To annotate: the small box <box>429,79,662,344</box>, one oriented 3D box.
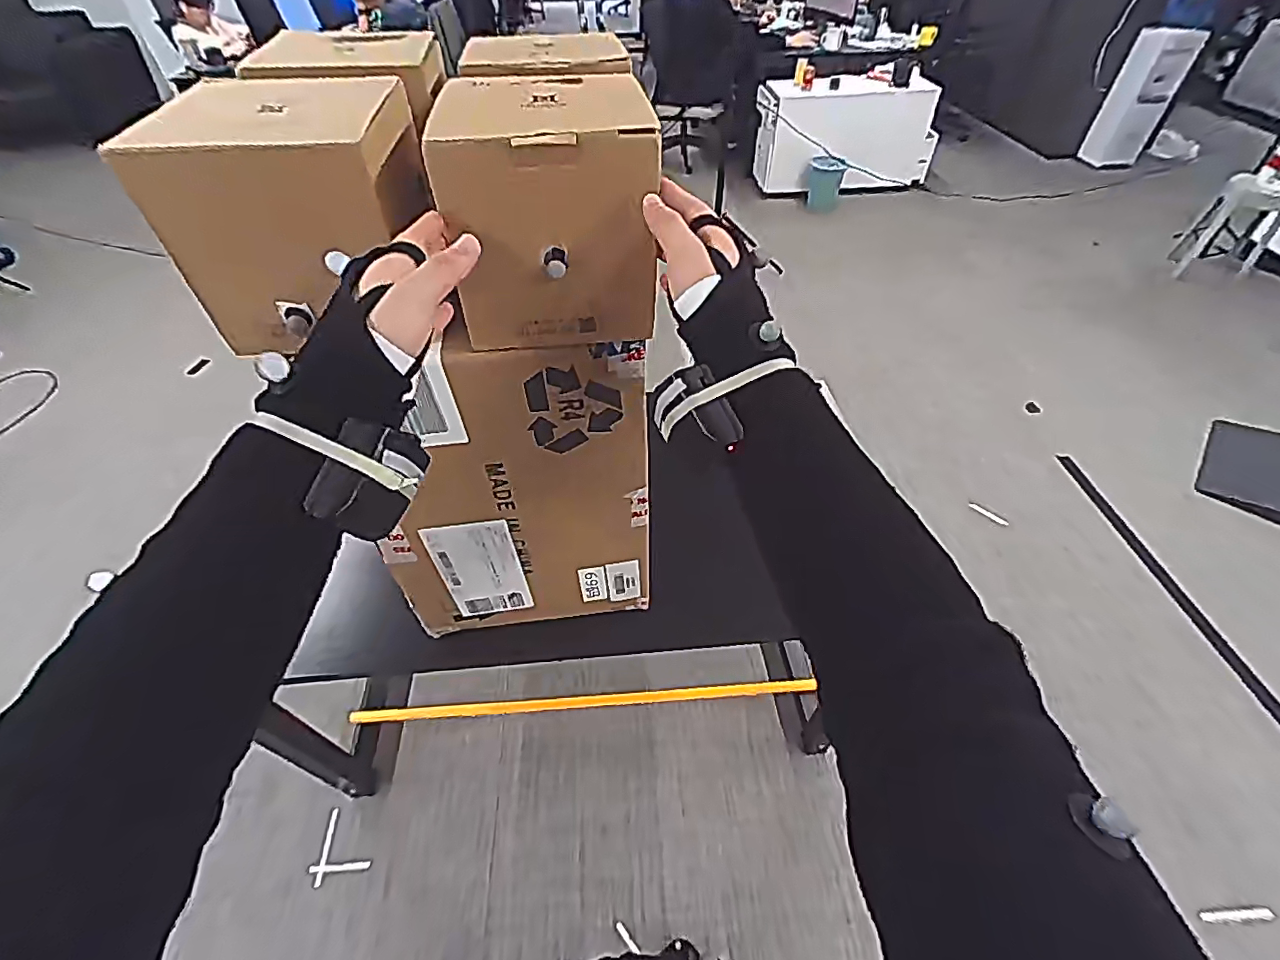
[{"bbox_3d":[-0.074,-0.235,0.485,0.168,0.176,0.179,-4,49,-6],"label":"small box"}]
